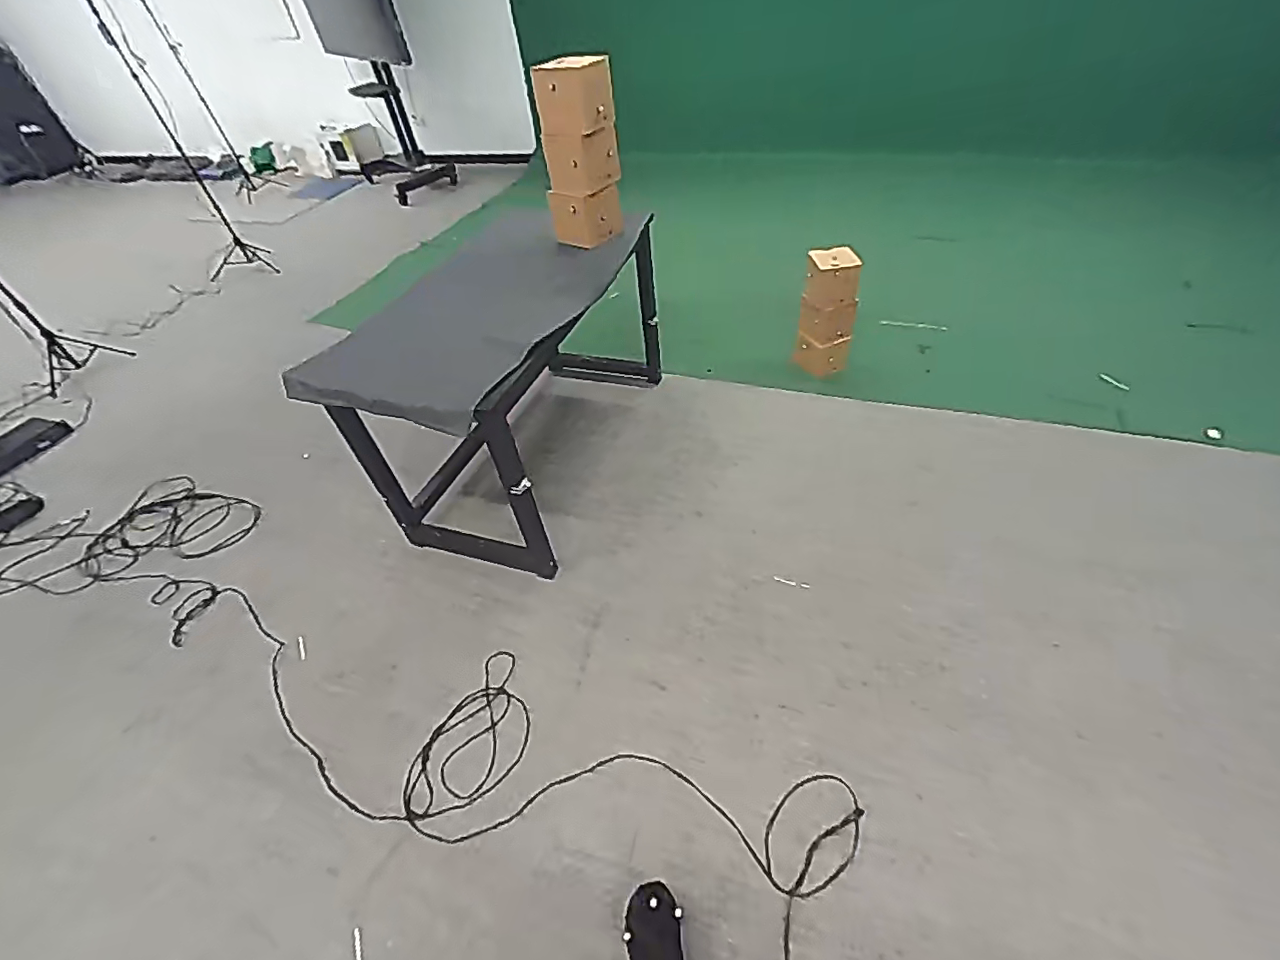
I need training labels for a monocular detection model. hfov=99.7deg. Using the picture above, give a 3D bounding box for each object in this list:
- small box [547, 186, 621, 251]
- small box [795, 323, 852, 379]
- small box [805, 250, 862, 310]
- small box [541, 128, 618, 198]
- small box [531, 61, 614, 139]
[{"bbox_3d":[-0.186,-0.908,1.864,0.179,0.176,0.168,27,54,32],"label":"small box"},{"bbox_3d":[0.820,-0.574,2.429,0.168,0.176,0.179,-21,46,-13],"label":"small box"},{"bbox_3d":[0.784,-0.819,2.212,0.168,0.176,0.179,-8,45,1],"label":"small box"},{"bbox_3d":[-0.189,-1.034,1.759,0.179,0.176,0.168,22,51,30],"label":"small box"},{"bbox_3d":[-0.200,-1.154,1.647,0.179,0.176,0.168,18,50,25],"label":"small box"}]
